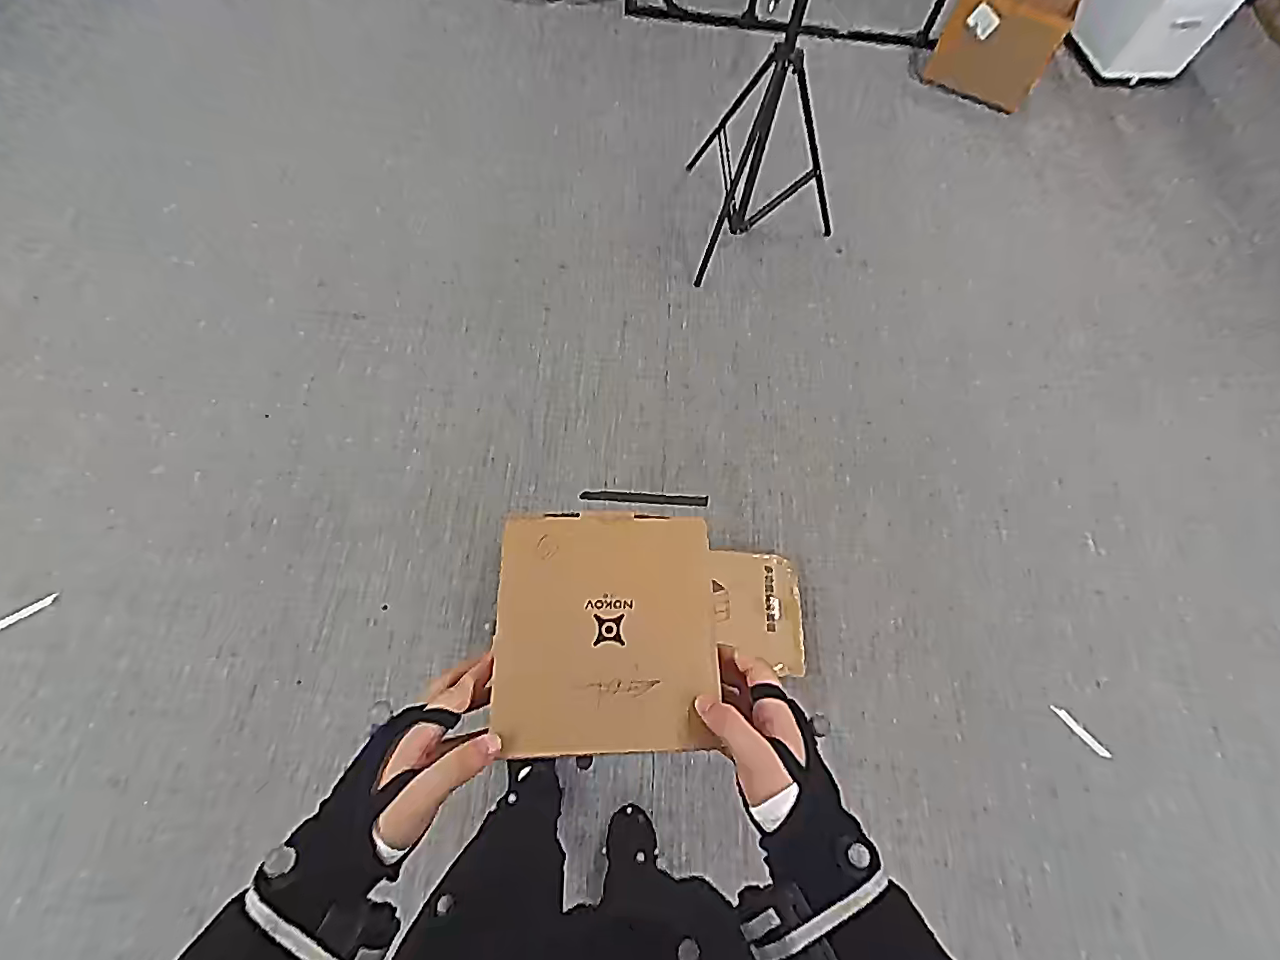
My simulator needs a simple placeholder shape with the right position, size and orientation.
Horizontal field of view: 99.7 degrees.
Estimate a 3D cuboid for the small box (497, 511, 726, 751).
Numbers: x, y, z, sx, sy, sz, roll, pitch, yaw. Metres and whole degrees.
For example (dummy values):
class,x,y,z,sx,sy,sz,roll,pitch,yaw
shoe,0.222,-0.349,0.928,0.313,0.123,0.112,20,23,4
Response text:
class,x,y,z,sx,sy,sz,roll,pitch,yaw
small box,-0.032,0.138,0.483,0.168,0.176,0.179,1,68,-8
